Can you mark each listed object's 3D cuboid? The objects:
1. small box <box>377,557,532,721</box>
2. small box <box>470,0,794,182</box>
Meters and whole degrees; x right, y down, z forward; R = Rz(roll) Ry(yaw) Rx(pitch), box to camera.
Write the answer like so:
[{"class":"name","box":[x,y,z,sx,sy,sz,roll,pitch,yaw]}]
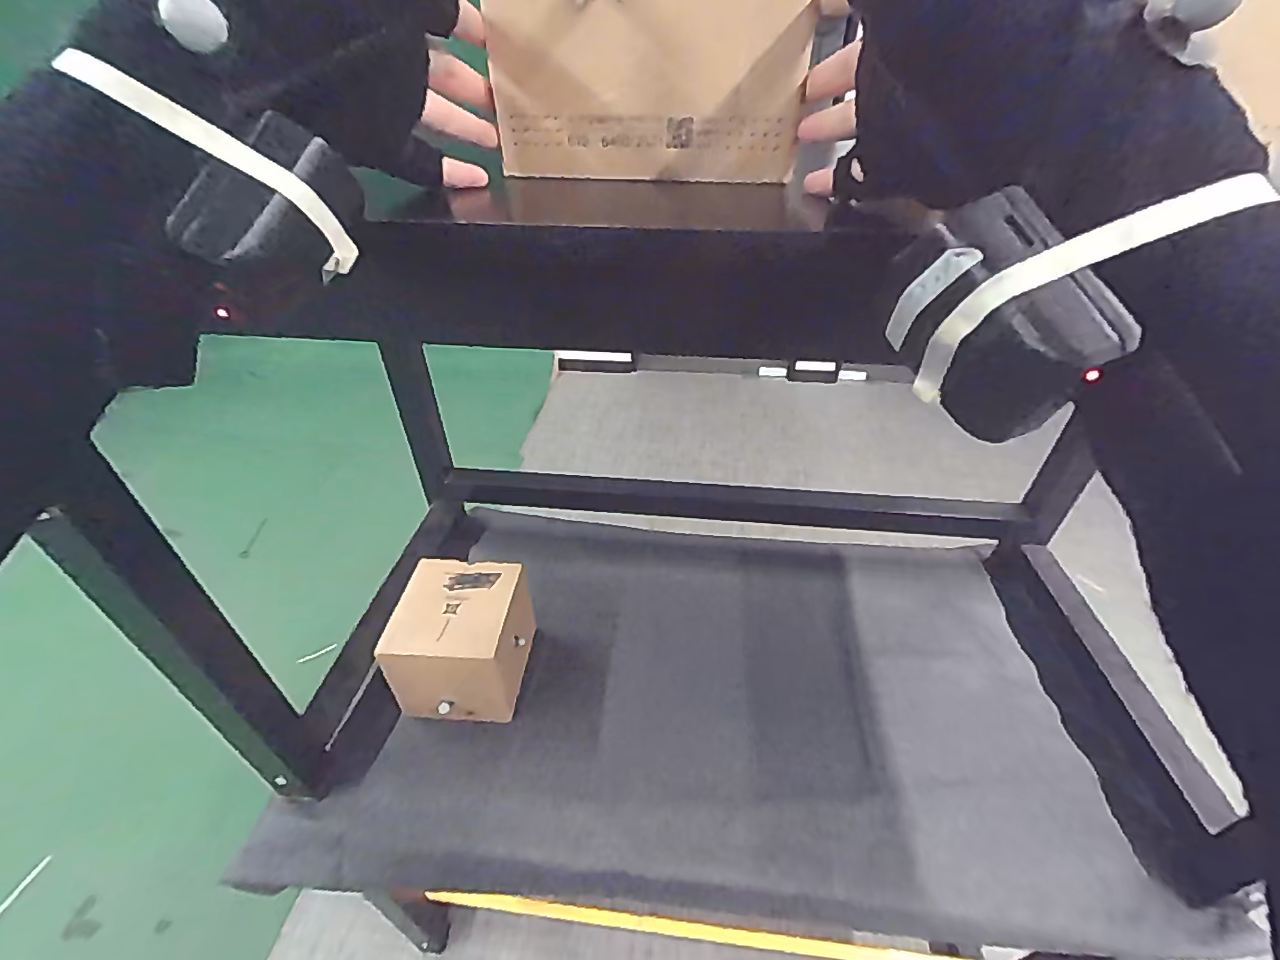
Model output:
[{"class":"small box","box":[-0.270,0.243,0.836,0.168,0.176,0.179,2,38,3]},{"class":"small box","box":[0.006,-0.285,0.325,0.168,0.176,0.179,5,38,8]}]
